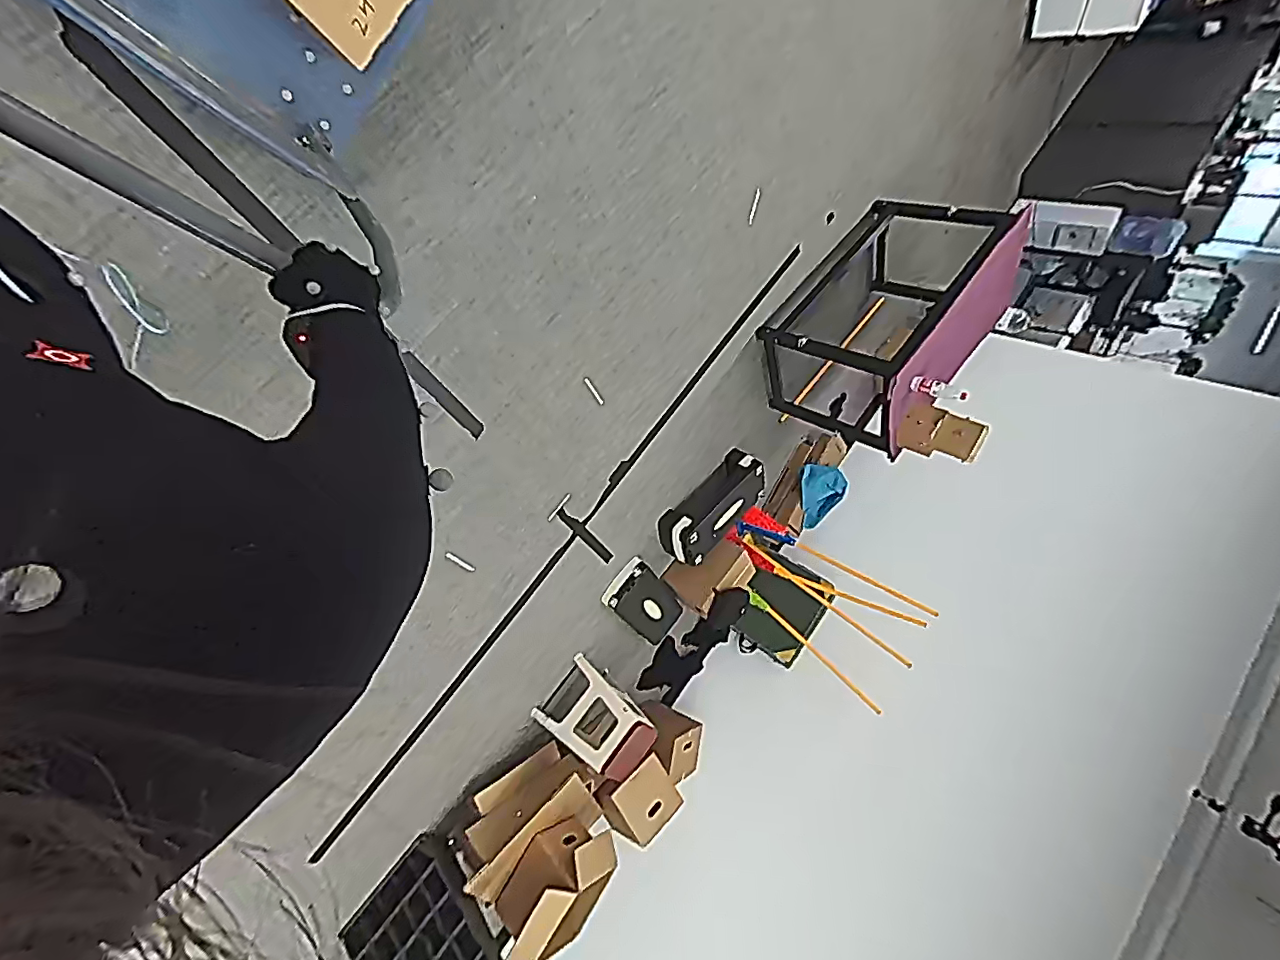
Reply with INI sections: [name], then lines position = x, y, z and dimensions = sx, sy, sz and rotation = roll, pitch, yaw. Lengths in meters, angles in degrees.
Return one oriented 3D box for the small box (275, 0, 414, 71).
[small box]
position = -0.502, -0.810, 0.867
dimensions = 0.168, 0.176, 0.179
rotation = -48, 145, 7
